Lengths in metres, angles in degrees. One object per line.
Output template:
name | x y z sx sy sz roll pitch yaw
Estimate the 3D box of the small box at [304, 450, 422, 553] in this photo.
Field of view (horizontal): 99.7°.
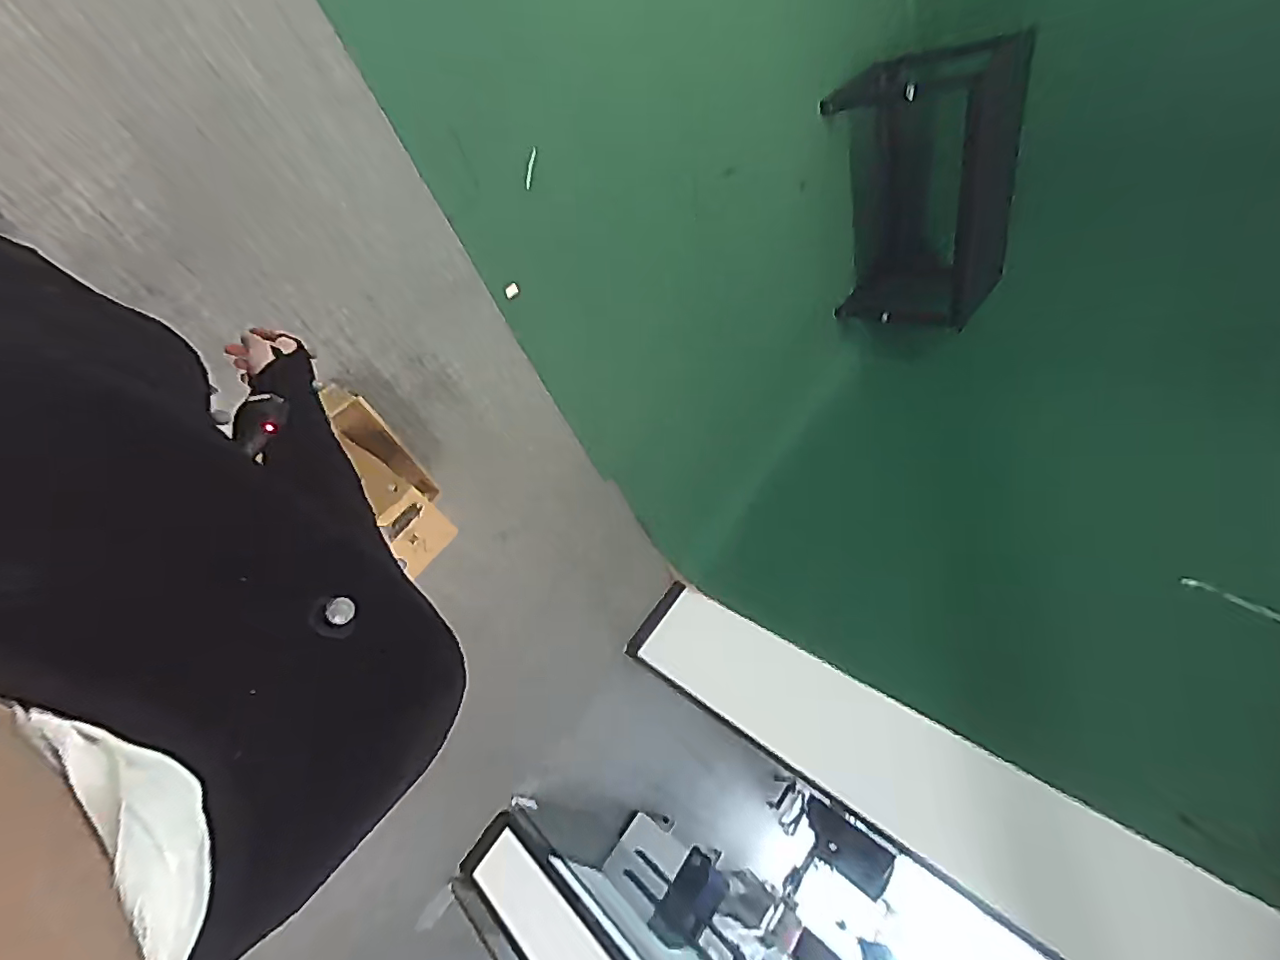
small box | -0.699 0.048 1.366 0.168 0.176 0.179 -50 139 -21
